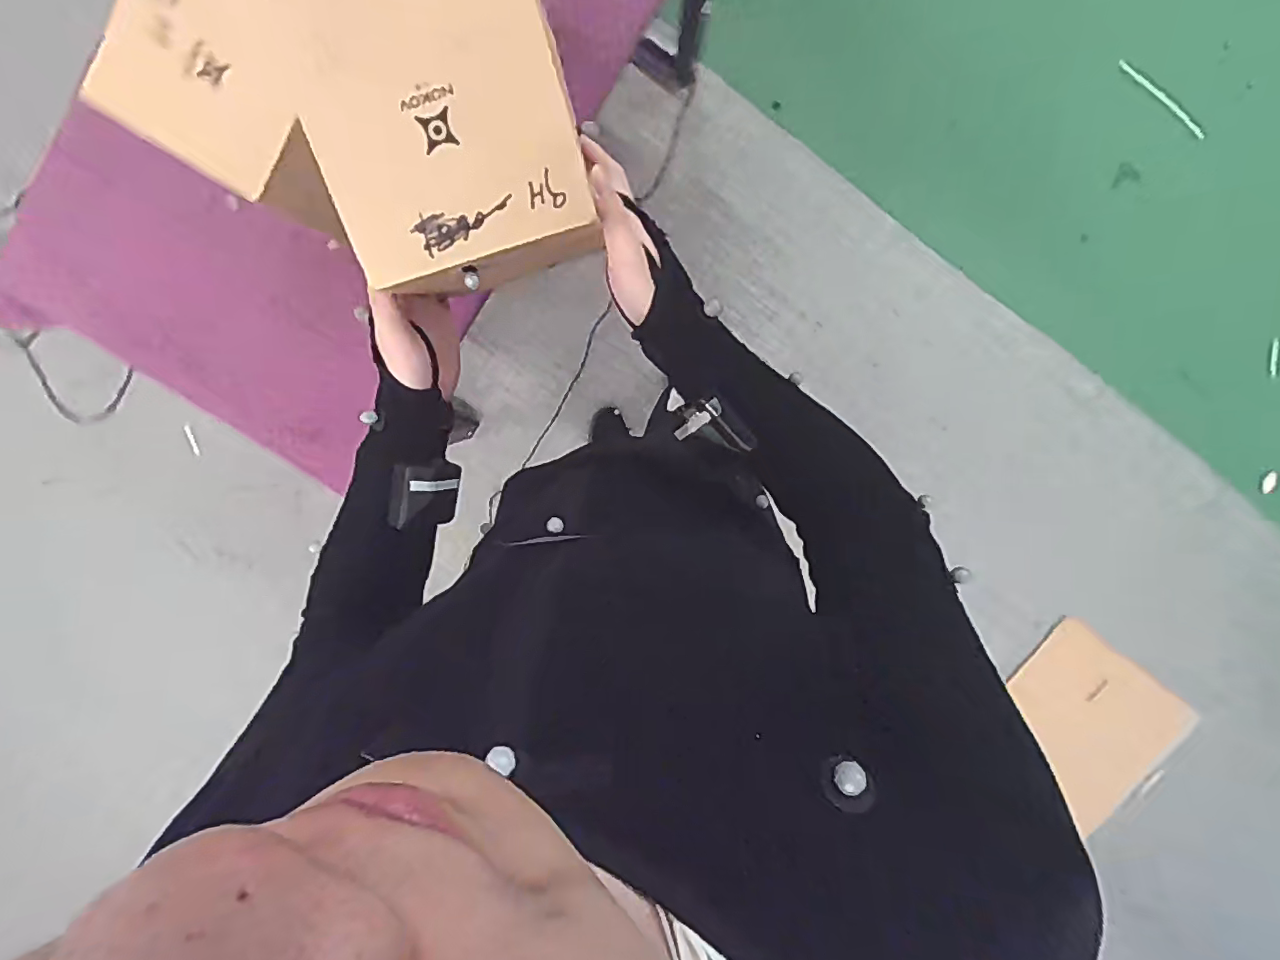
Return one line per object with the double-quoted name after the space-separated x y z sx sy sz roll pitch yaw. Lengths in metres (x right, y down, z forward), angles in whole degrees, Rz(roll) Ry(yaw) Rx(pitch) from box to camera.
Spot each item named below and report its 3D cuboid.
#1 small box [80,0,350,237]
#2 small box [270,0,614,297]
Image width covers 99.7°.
-0.390 -0.379 0.562 0.179 0.176 0.168 31 98 -5 "small box"
-0.123 -0.252 0.416 0.168 0.176 0.179 -14 105 5 "small box"
